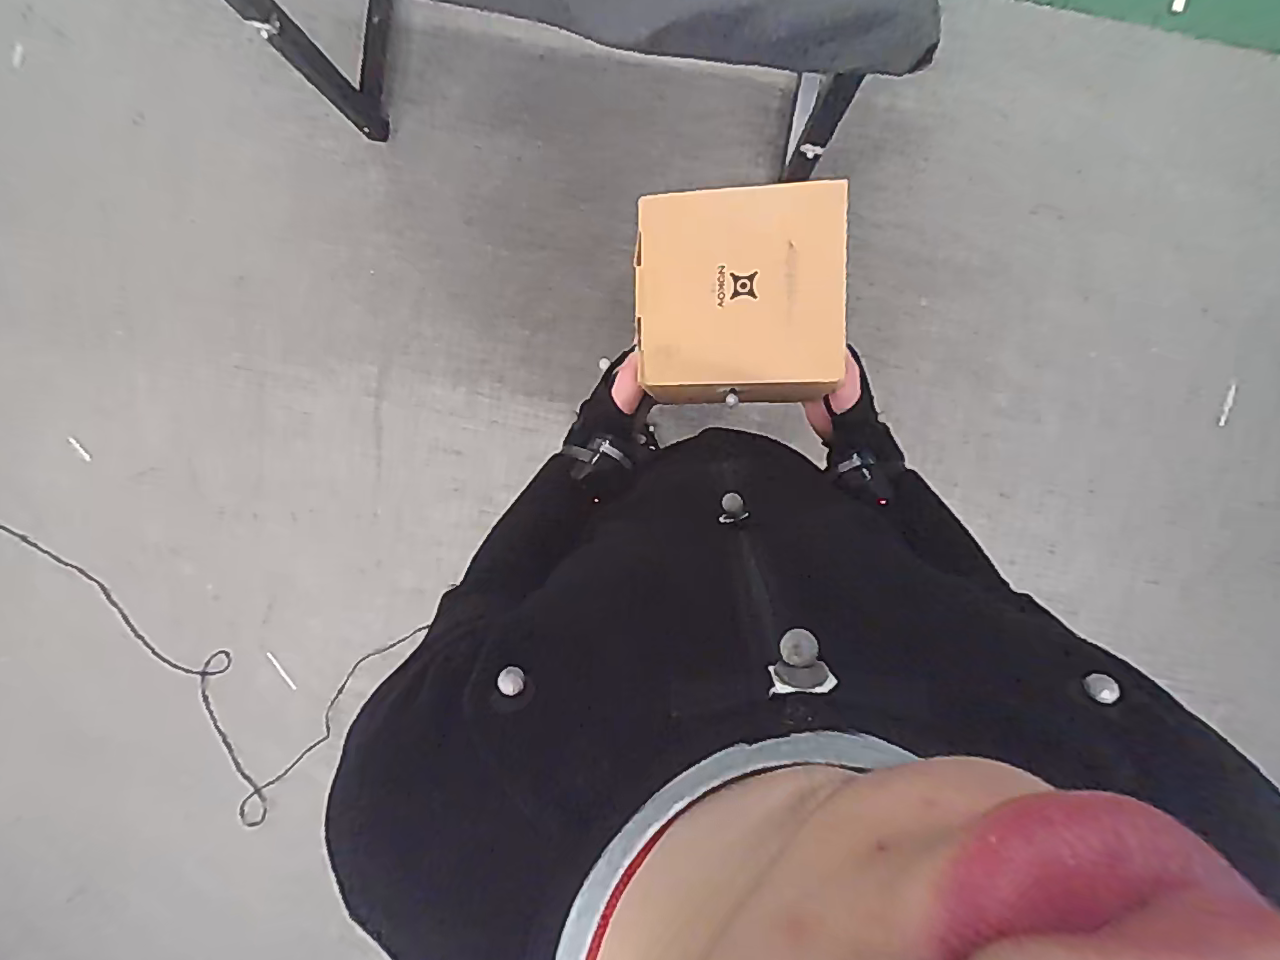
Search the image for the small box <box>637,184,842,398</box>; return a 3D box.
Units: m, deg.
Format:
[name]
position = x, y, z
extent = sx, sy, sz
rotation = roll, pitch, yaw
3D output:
[small box]
position = 0.096, -0.173, 0.549
extent = 0.179, 0.176, 0.168
rotation = 0, 94, 8
